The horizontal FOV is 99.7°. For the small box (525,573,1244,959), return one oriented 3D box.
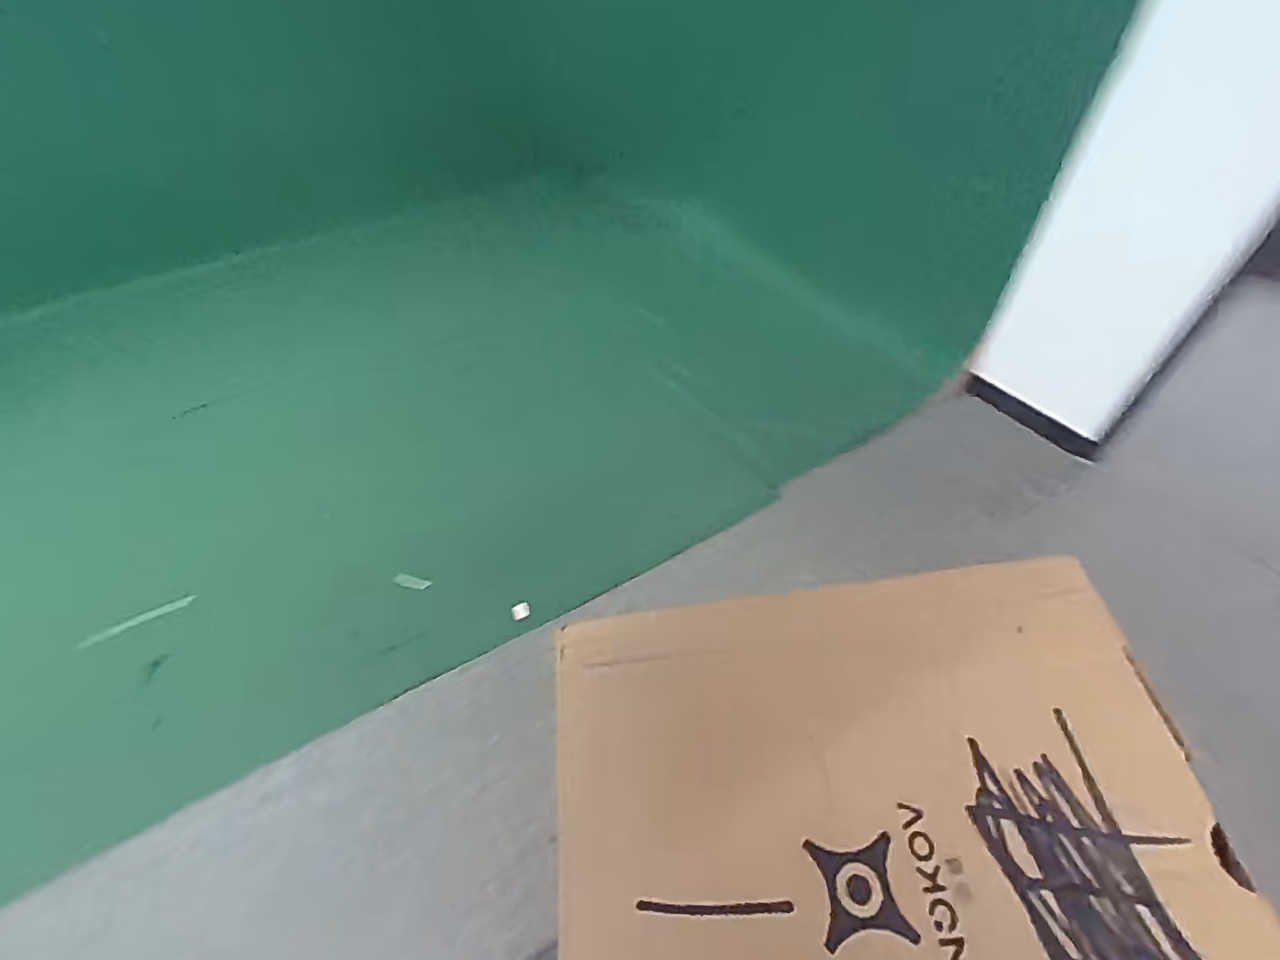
[{"bbox_3d":[0.064,0.155,0.208,0.179,0.176,0.168,-11,57,-1],"label":"small box"}]
